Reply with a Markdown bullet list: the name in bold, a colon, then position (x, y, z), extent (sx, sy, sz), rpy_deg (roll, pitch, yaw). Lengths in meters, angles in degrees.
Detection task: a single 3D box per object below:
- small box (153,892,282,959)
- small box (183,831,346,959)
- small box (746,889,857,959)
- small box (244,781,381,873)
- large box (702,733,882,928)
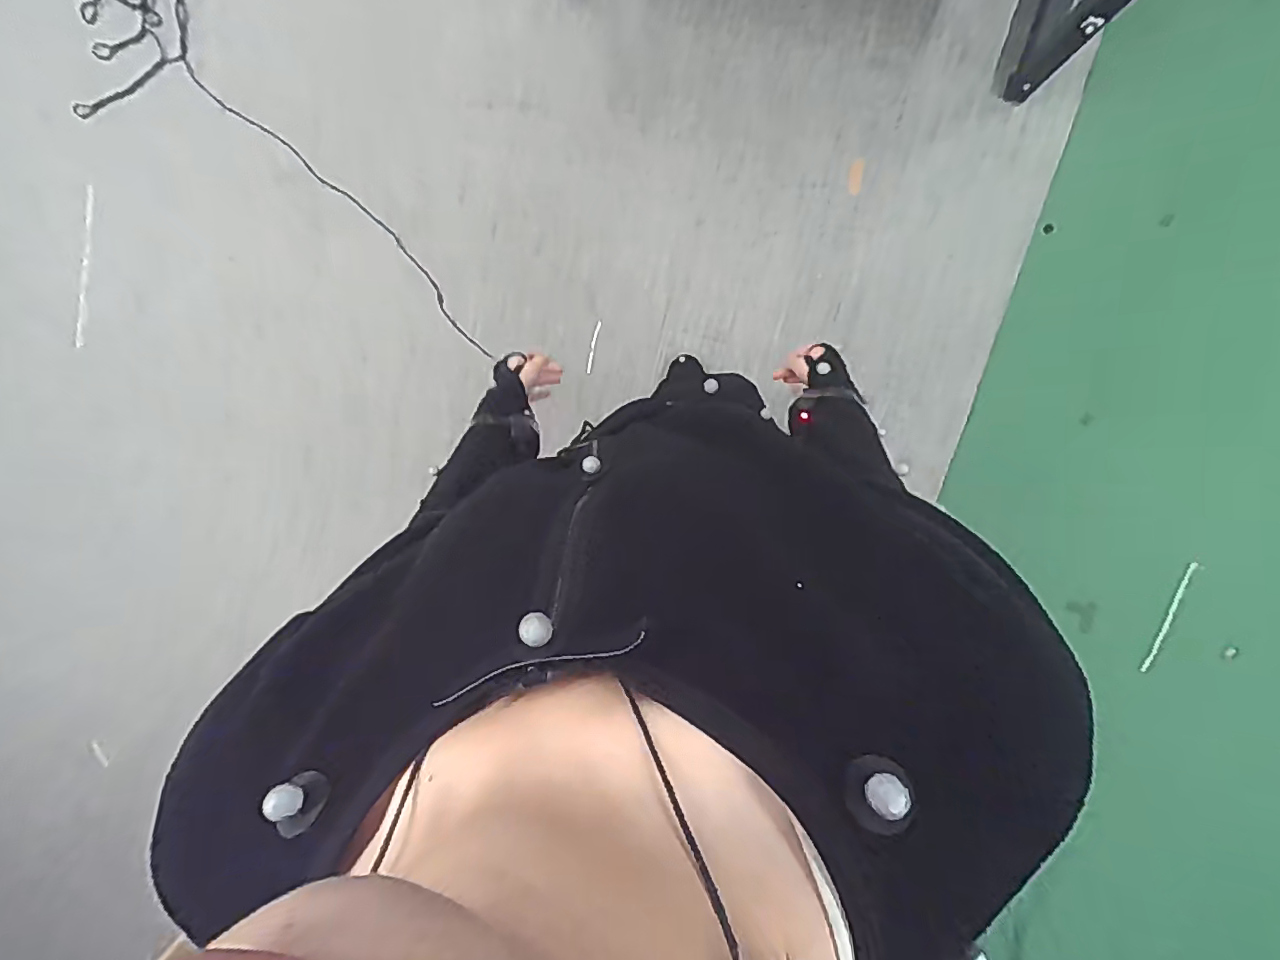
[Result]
- **small box**: position (-0.780, 0.889, 0.952), extent (0.179, 0.176, 0.168), rpy_deg (-43, 92, 9)
- **small box**: position (-0.760, 0.869, 1.113), extent (0.168, 0.176, 0.179), rpy_deg (-40, 93, 9)
- **small box**: position (0.309, 0.929, 1.031), extent (0.179, 0.176, 0.168), rpy_deg (8, 98, 5)
- **small box**: position (-0.763, 0.852, 1.277), extent (0.168, 0.176, 0.179), rpy_deg (-45, 91, 10)
- **large box**: position (0.373, 0.904, 1.434), extent (0.408, 0.320, 0.320), rpy_deg (1, 98, 3)
